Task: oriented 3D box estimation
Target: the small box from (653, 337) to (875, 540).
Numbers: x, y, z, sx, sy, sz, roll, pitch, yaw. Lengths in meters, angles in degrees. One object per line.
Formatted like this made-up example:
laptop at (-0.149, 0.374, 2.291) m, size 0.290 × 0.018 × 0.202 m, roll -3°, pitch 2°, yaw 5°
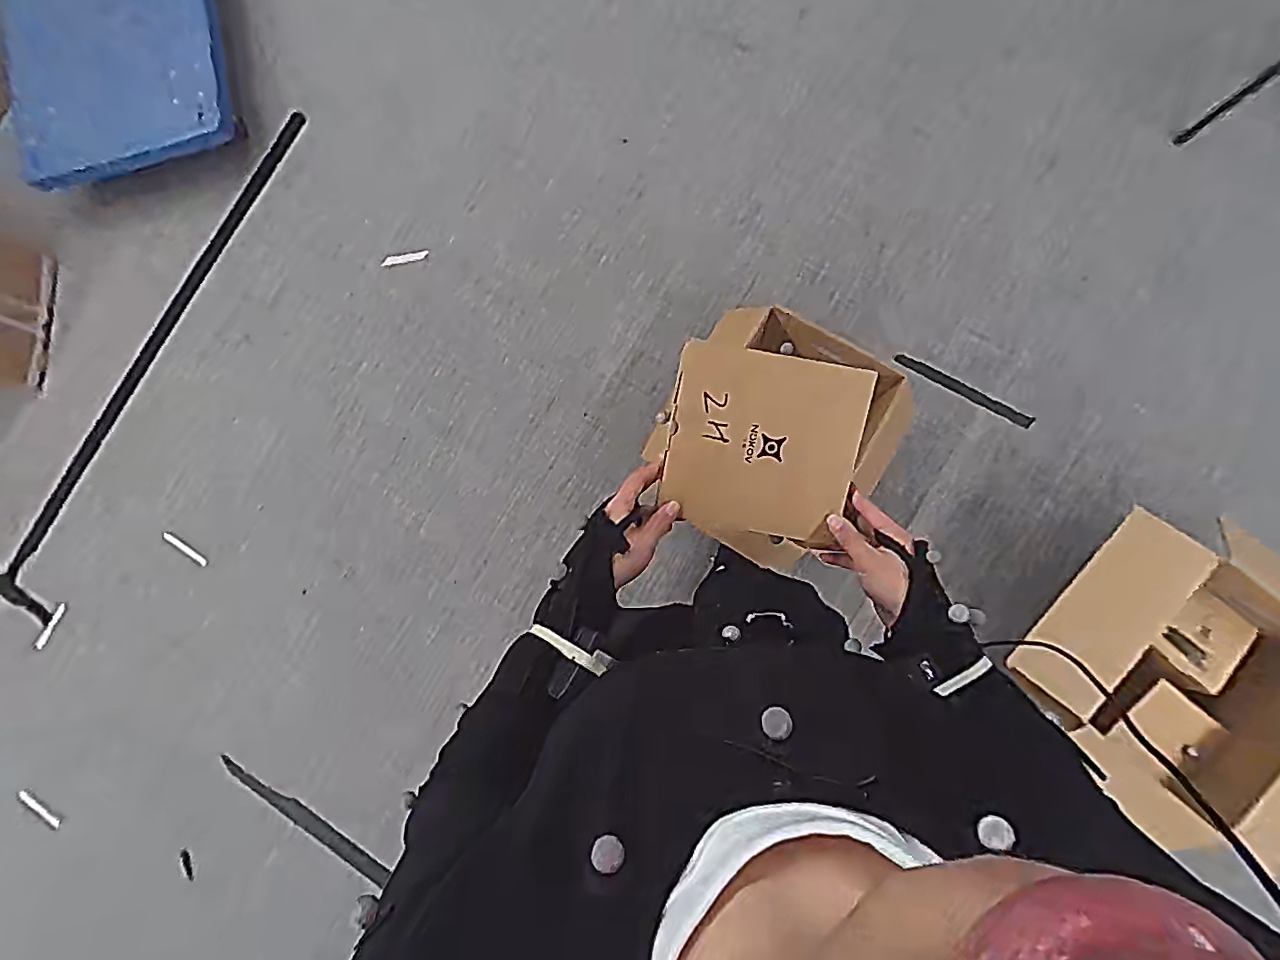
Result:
small box at (0.115, -0.050, 0.578) m, size 0.179 × 0.176 × 0.168 m, roll 11°, pitch 101°, yaw 1°
